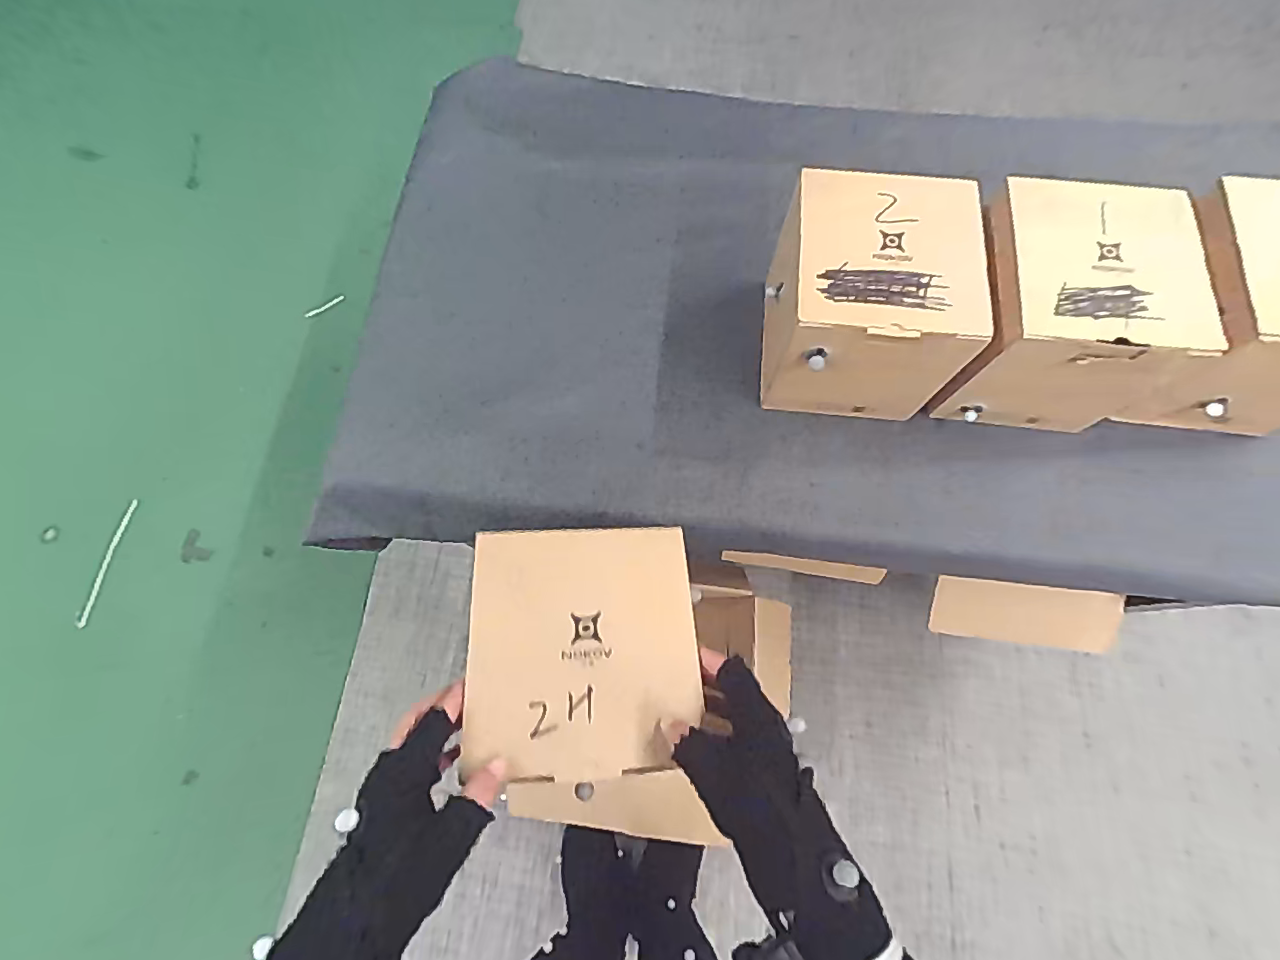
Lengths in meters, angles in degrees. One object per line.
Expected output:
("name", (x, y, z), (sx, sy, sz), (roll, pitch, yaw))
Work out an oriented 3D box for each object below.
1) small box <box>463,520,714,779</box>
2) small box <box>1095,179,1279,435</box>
("small box", (-0.045, 0.148, 0.458), (0.168, 0.176, 0.179), (-1, 62, -7))
("small box", (0.611, -0.164, 0.549), (0.168, 0.176, 0.179), (7, 73, 3))
